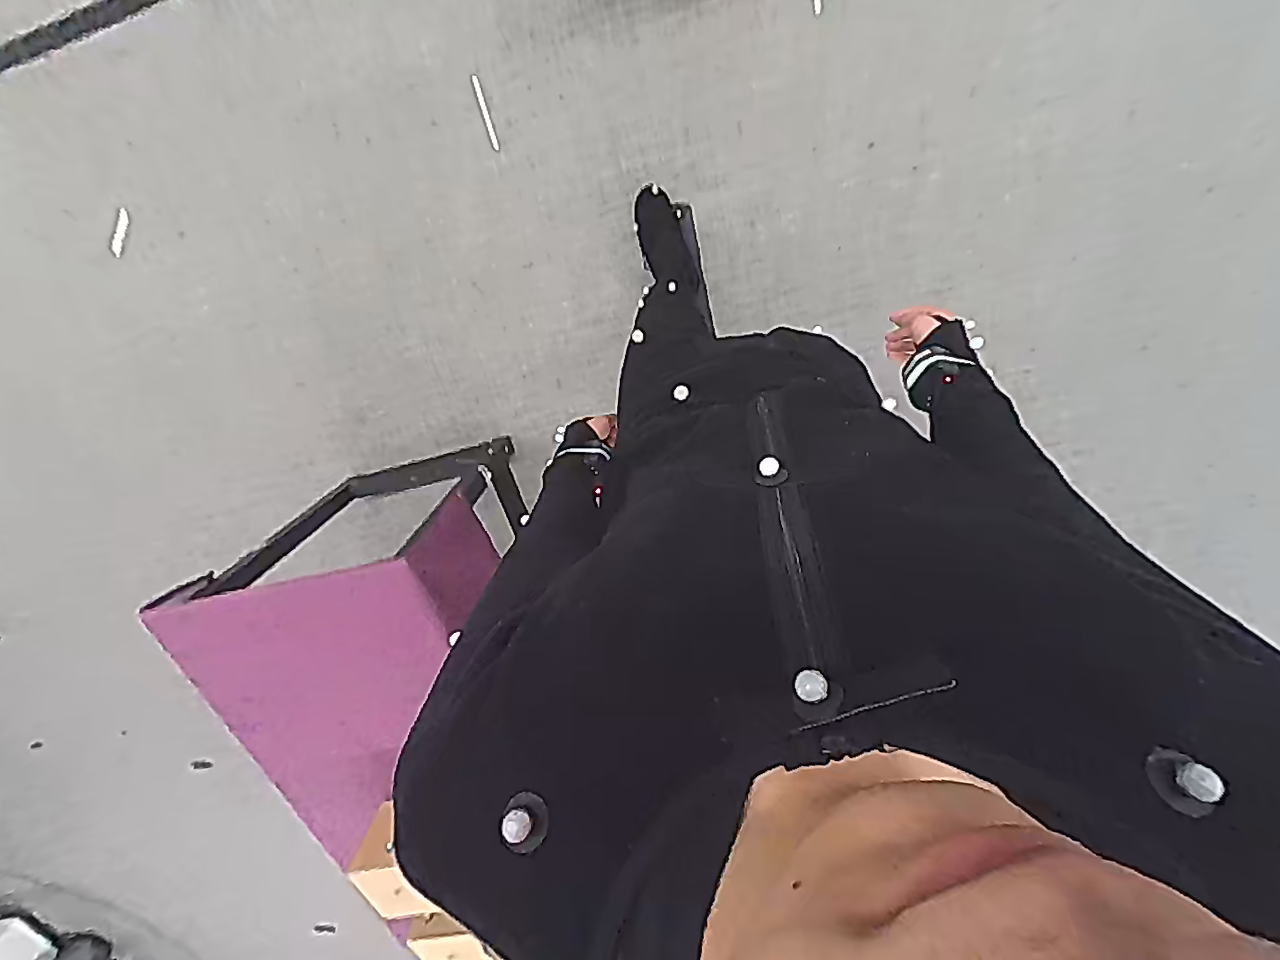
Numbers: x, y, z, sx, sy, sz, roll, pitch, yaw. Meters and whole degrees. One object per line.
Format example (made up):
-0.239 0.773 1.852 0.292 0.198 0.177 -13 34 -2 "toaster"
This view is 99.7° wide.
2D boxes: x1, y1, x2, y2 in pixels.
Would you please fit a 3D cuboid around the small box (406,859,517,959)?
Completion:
-0.426 1.070 1.322 0.179 0.176 0.168 -17 113 10 "small box"

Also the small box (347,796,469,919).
-0.512 0.852 1.231 0.179 0.176 0.168 -15 112 10 "small box"
